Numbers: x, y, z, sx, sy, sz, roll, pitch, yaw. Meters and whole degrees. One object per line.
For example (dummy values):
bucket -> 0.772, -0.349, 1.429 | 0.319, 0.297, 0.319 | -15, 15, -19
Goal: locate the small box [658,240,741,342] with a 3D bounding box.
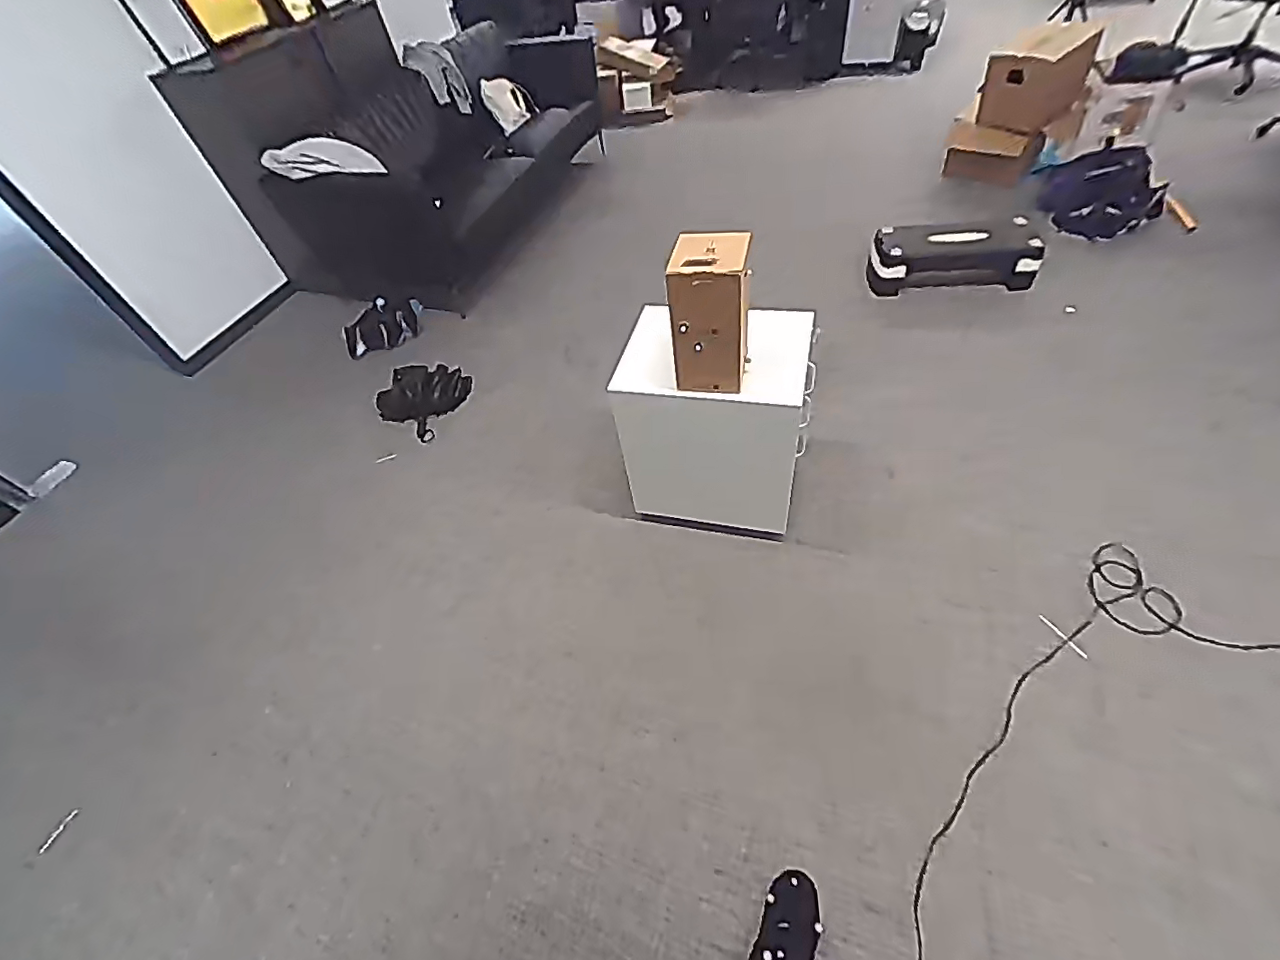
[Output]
small box -> 0.145, -0.439, 1.266 | 0.168, 0.176, 0.179 | 5, 49, 14

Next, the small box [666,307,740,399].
small box -> 0.166, -0.331, 1.388 | 0.168, 0.176, 0.179 | 4, 49, 14
